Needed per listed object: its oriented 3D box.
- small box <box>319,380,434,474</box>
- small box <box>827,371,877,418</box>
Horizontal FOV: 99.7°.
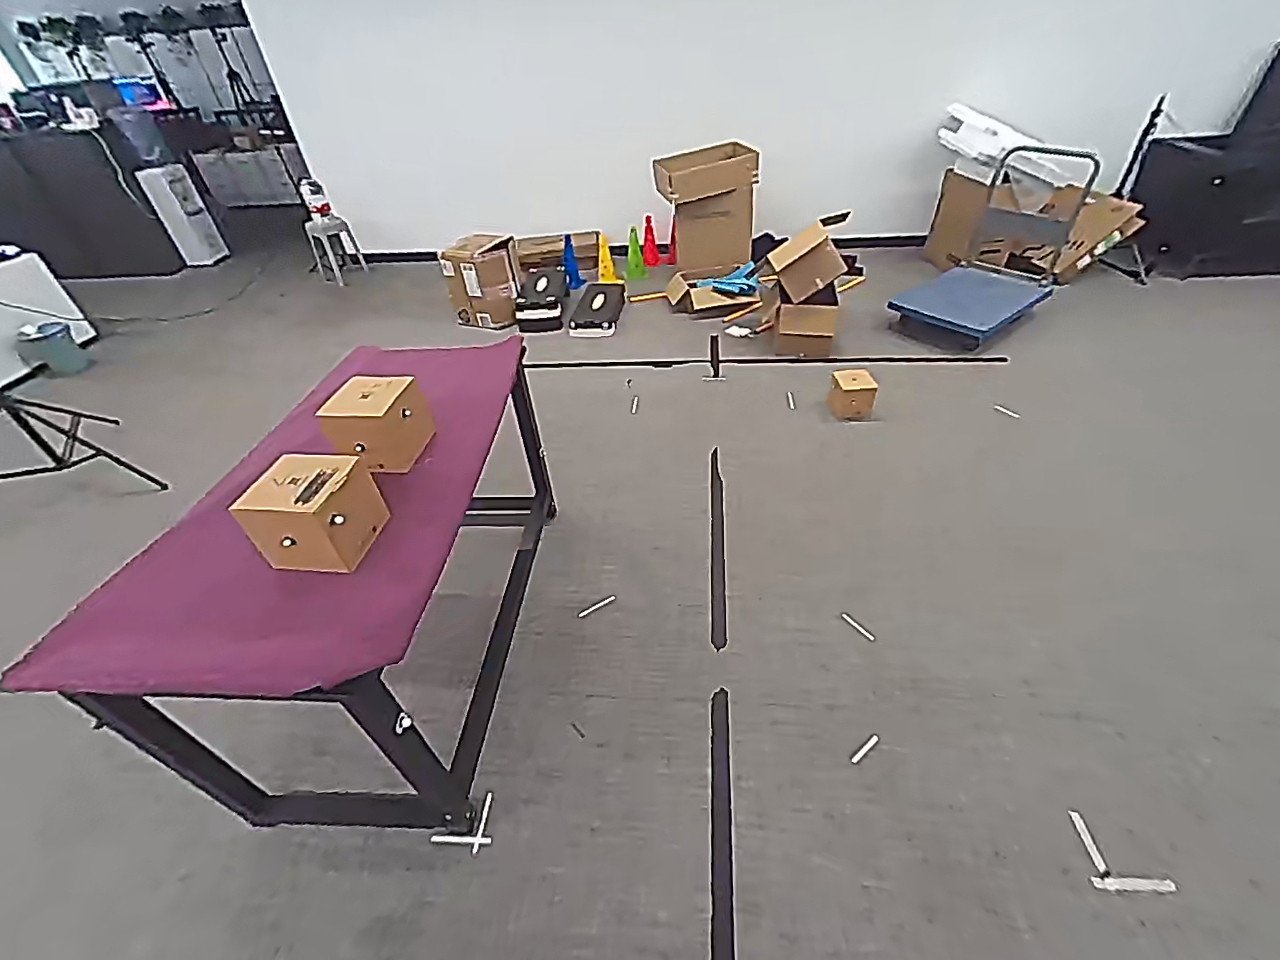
[{"bbox_3d":[-0.629,-0.129,1.318,0.168,0.176,0.179,2,40,7],"label":"small box"},{"bbox_3d":[1.033,-0.414,2.645,0.168,0.176,0.179,-4,40,0],"label":"small box"}]
